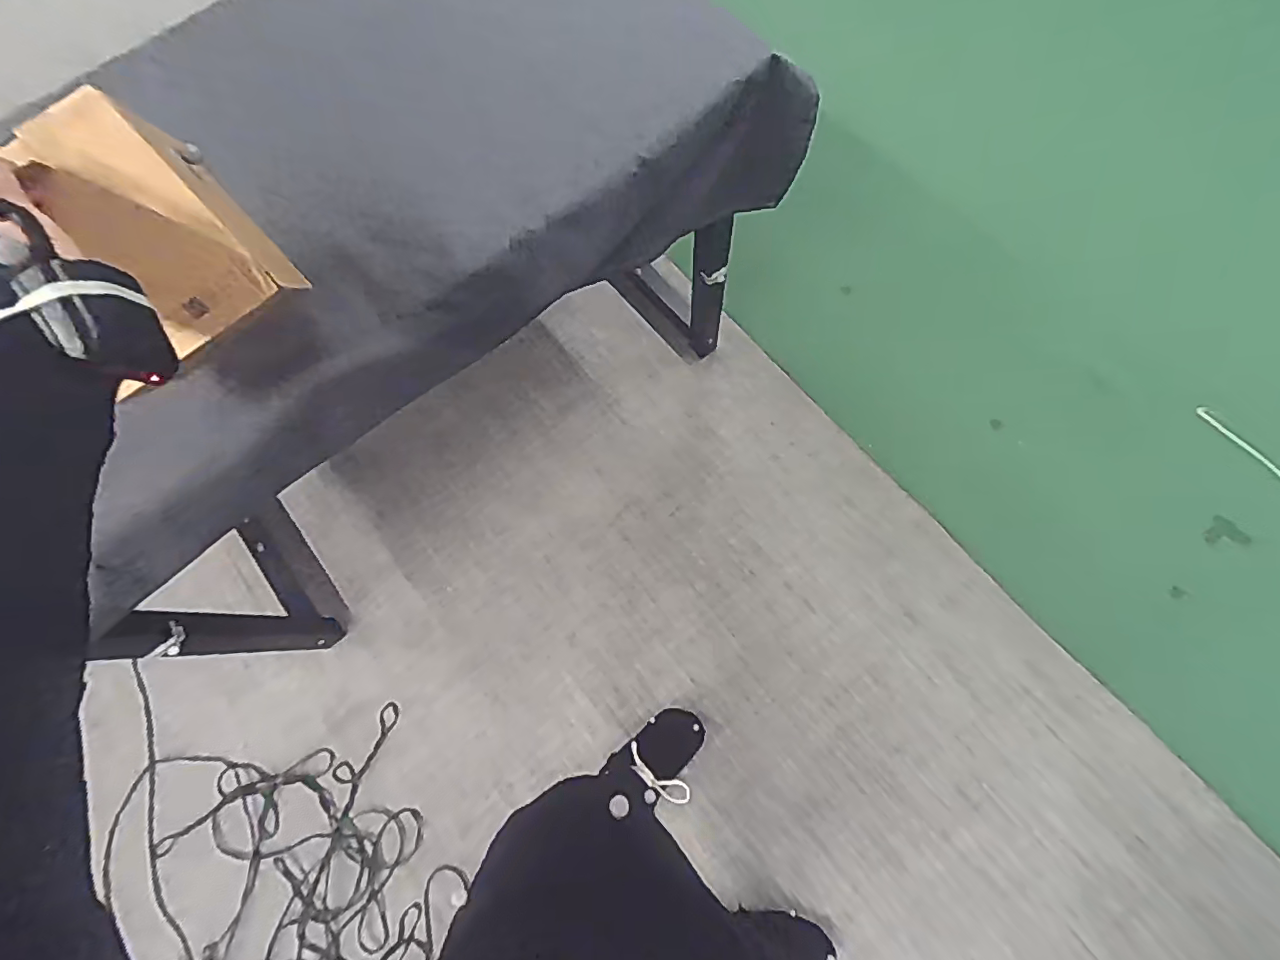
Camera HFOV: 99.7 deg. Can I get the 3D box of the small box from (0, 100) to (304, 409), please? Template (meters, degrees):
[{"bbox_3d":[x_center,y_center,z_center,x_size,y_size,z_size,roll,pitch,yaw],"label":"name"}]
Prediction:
[{"bbox_3d":[-0.437,-0.184,0.479,0.168,0.179,0.176,-40,121,-7],"label":"small box"}]
